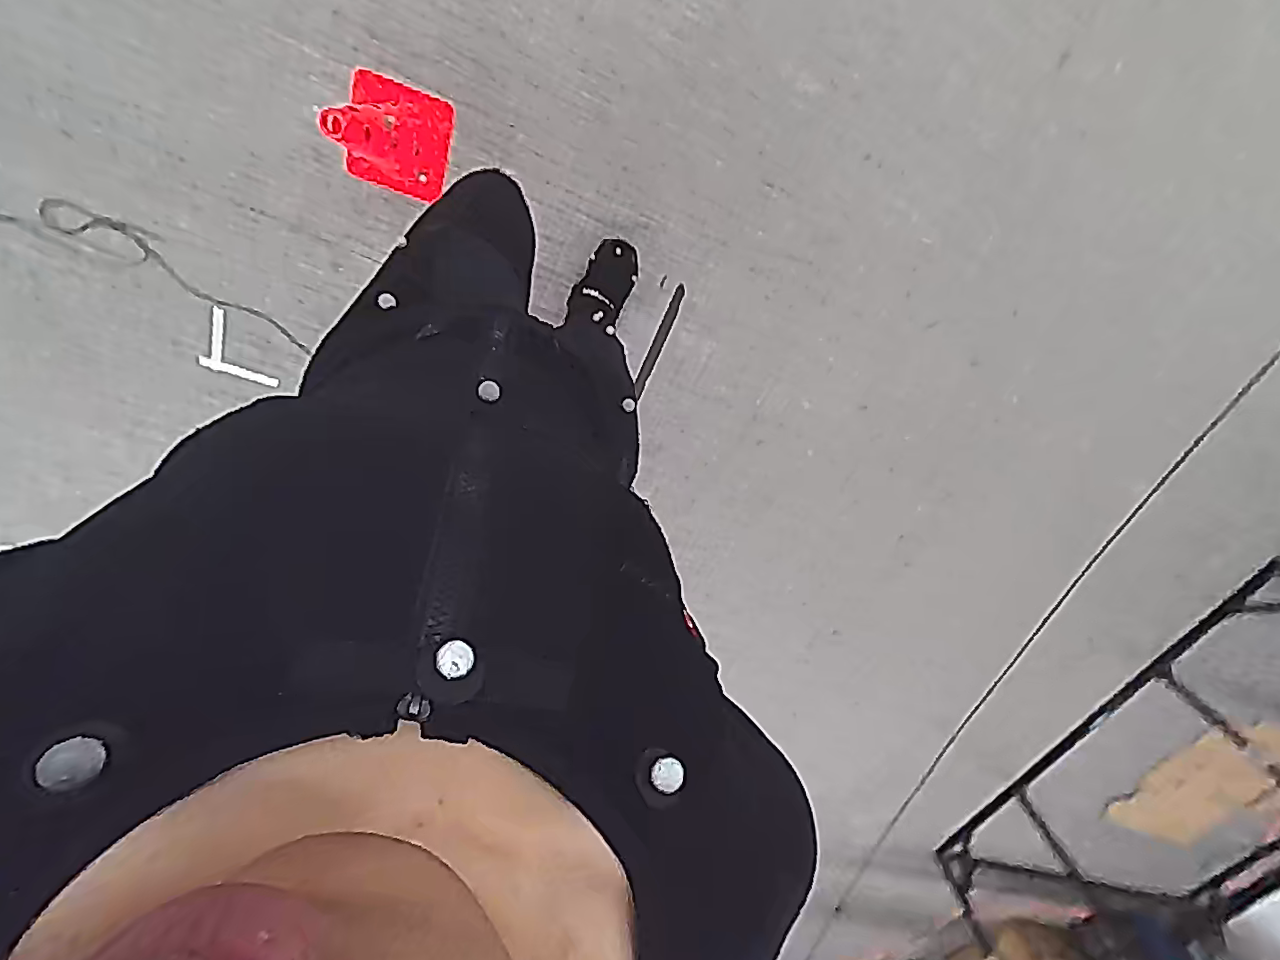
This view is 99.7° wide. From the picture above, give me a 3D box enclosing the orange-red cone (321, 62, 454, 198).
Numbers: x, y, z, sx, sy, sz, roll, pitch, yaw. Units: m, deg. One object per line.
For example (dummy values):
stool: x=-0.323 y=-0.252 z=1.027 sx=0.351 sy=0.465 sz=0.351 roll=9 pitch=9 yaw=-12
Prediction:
orange-red cone: x=-0.481 y=-0.636 z=0.968 sx=0.198 sy=0.360 sz=0.199 roll=16 pitch=115 yaw=-15
